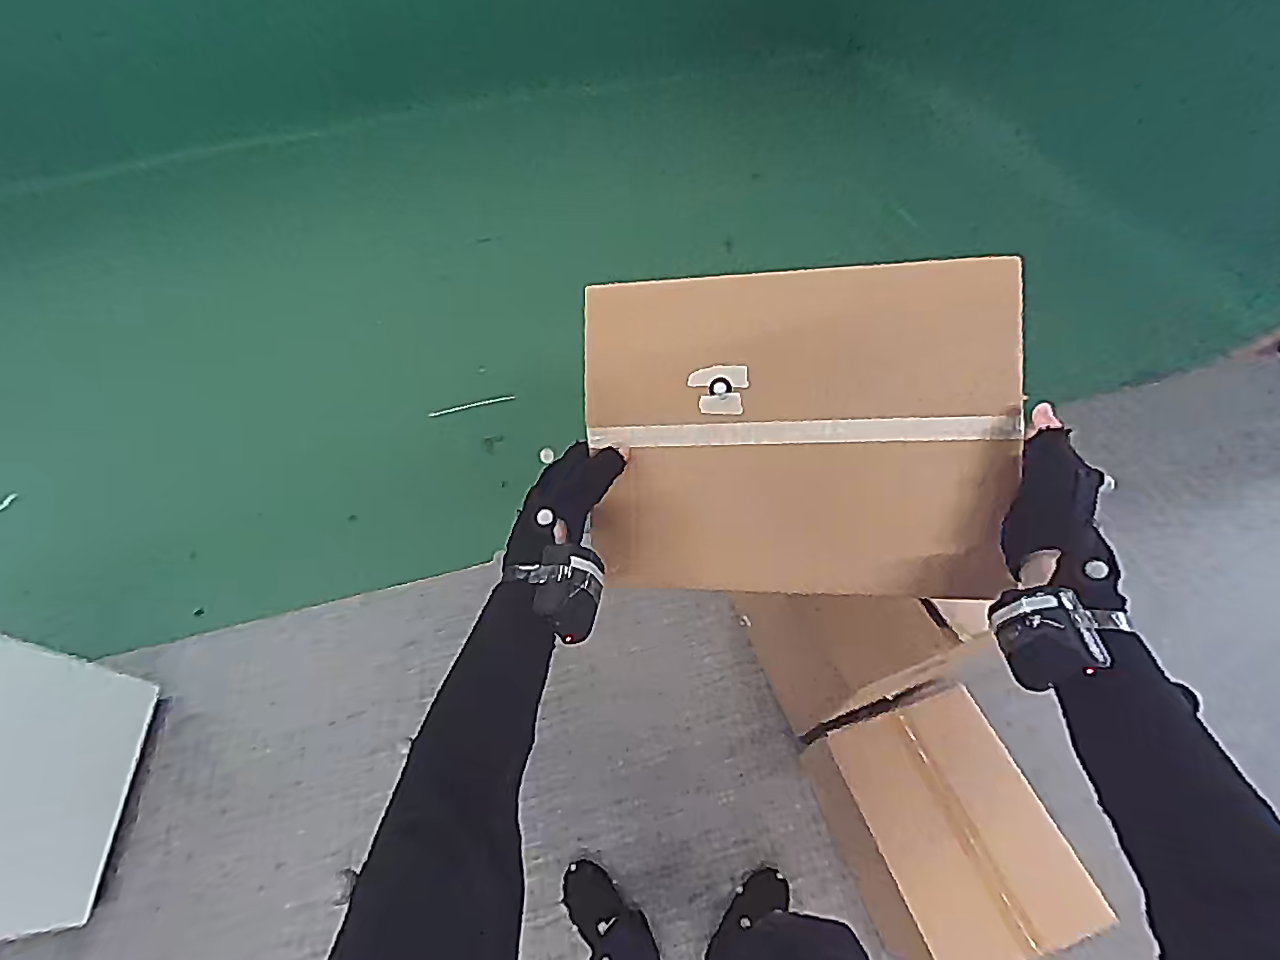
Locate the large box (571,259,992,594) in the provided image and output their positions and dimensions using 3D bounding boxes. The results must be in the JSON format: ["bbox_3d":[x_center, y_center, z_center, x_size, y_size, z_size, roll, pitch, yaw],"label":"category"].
[{"bbox_3d":[0.157,-0.049,0.679,0.408,0.320,0.320,-1,91,12],"label":"large box"}]
